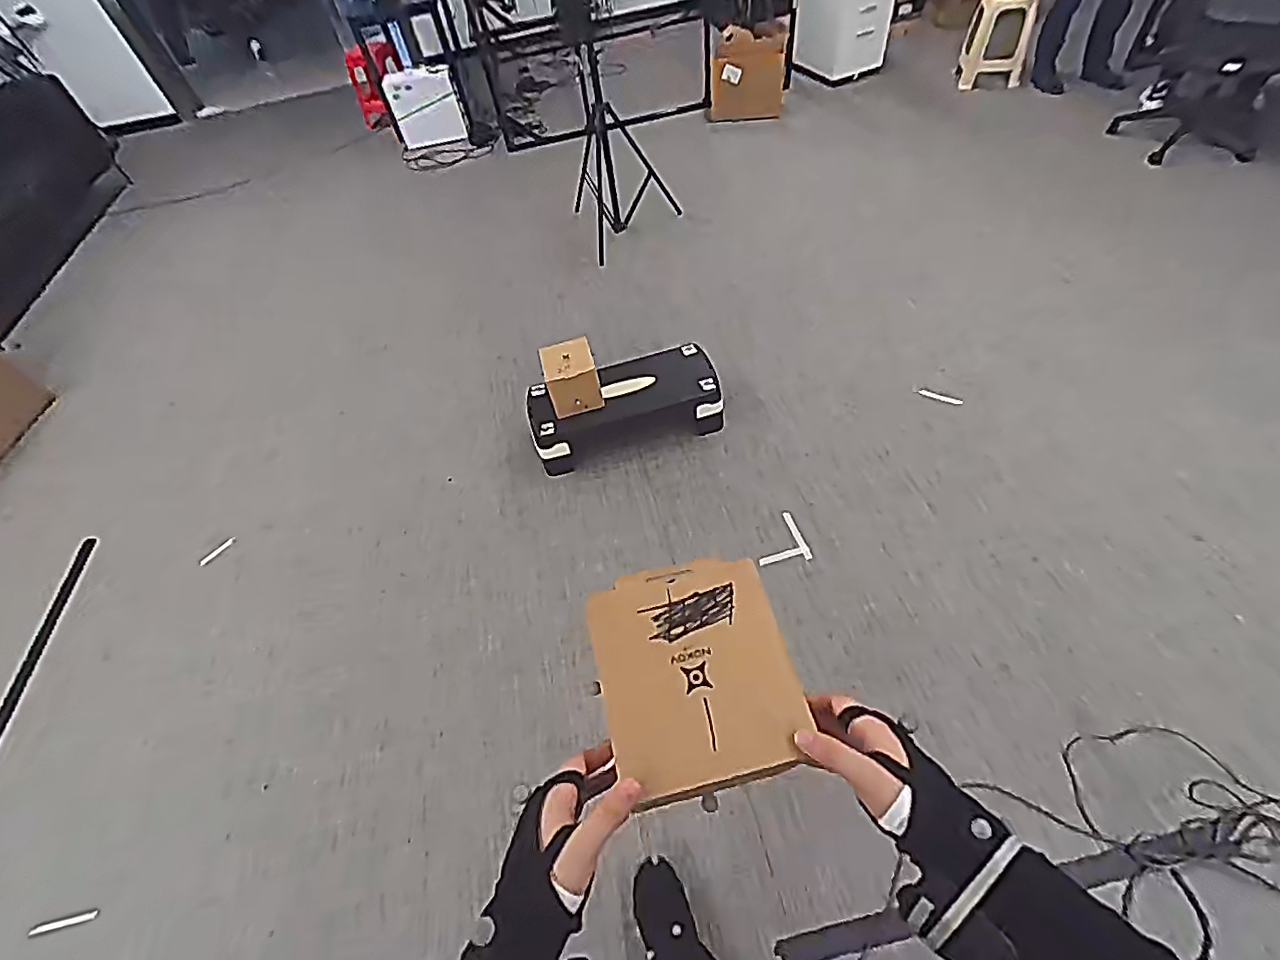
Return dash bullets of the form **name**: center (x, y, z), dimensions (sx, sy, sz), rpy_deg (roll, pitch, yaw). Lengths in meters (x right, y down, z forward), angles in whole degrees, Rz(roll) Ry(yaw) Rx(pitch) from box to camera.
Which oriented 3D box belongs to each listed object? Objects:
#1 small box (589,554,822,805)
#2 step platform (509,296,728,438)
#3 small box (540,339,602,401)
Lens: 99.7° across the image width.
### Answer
- **small box**: center (0.049, 0.200, 0.532), dimensions (0.168, 0.176, 0.179), rpy_deg (-12, 58, -6)
- **step platform**: center (-0.065, -0.366, 1.761), dimensions (0.684, 0.204, 0.286), rpy_deg (-16, 52, -4)
- **small box**: center (-0.230, -0.337, 1.809), dimensions (0.168, 0.176, 0.179), rpy_deg (-16, 52, -4)
